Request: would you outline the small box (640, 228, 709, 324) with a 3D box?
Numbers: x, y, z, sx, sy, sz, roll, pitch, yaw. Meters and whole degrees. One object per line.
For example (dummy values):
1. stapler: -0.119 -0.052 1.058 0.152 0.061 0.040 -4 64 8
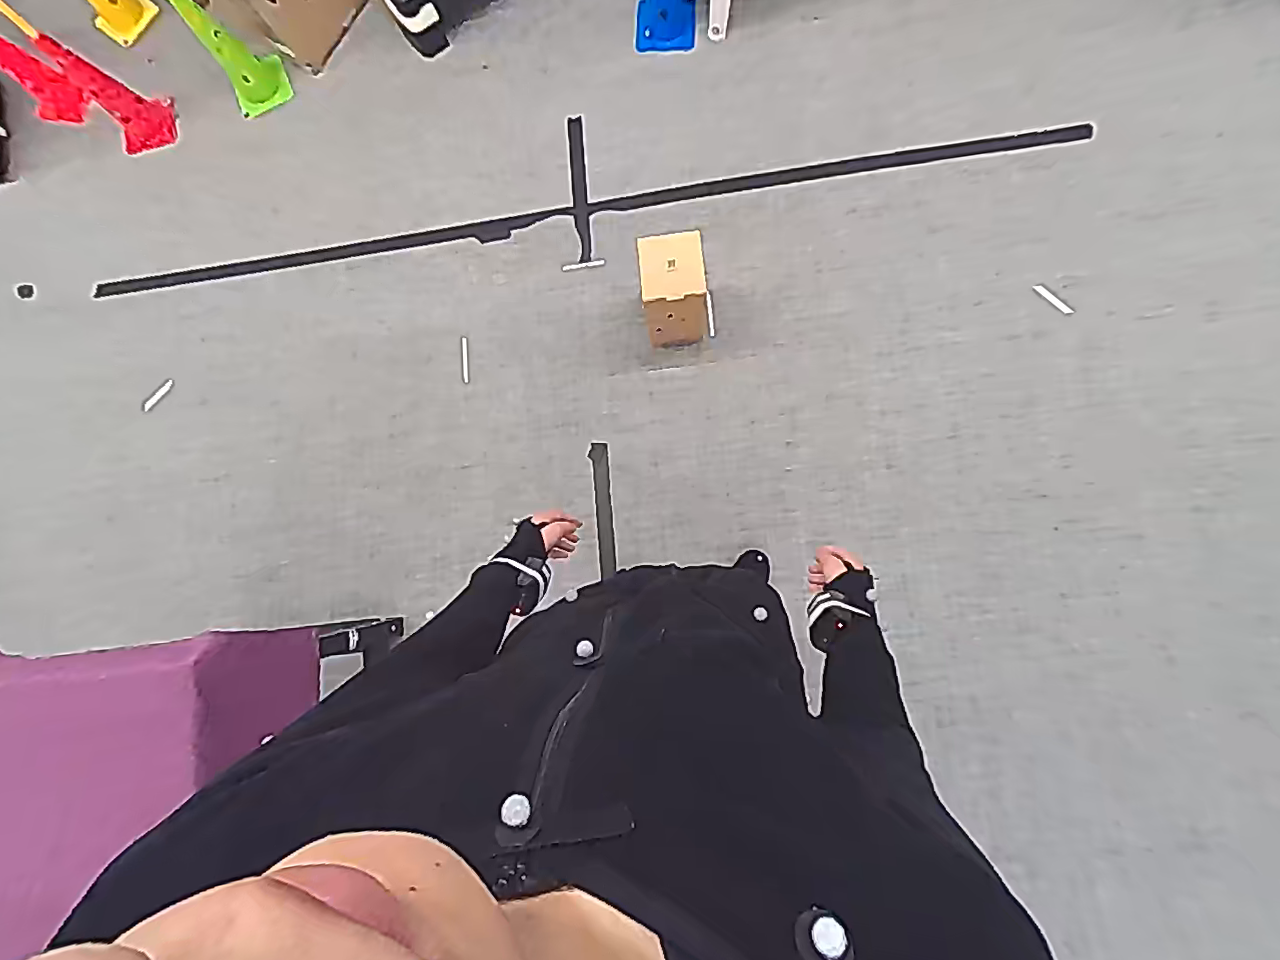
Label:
1. small box: 0.091 -0.546 1.462 0.168 0.176 0.179 -6 83 4
